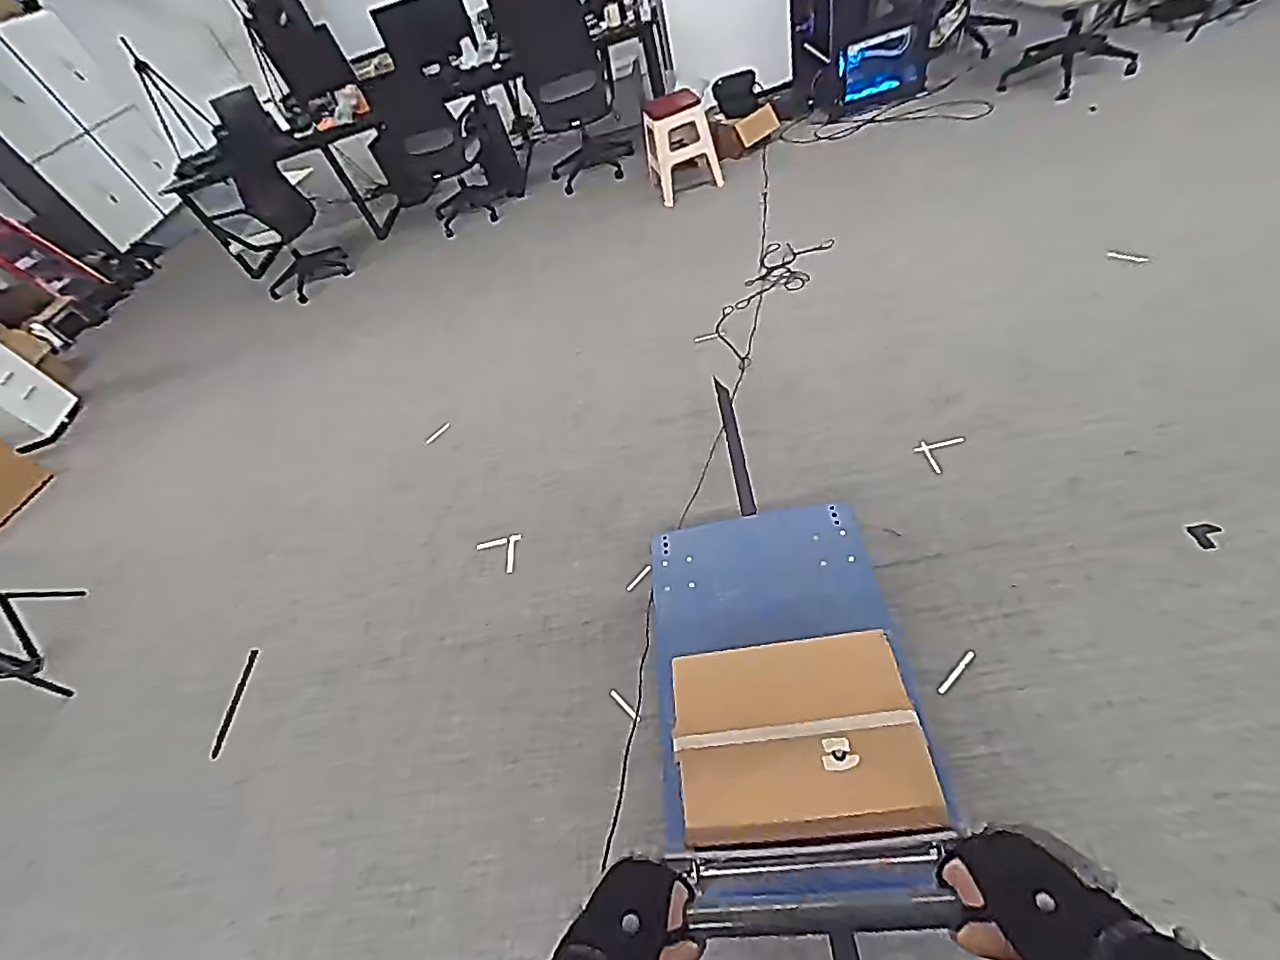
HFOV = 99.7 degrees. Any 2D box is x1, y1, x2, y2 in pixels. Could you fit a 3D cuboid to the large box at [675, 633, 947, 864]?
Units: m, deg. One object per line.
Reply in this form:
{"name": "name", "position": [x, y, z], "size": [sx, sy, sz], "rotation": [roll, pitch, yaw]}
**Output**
{"name": "large box", "position": [0.304, 0.534, 1.055], "size": [0.408, 0.320, 0.320], "rotation": [-11, 51, 9]}
